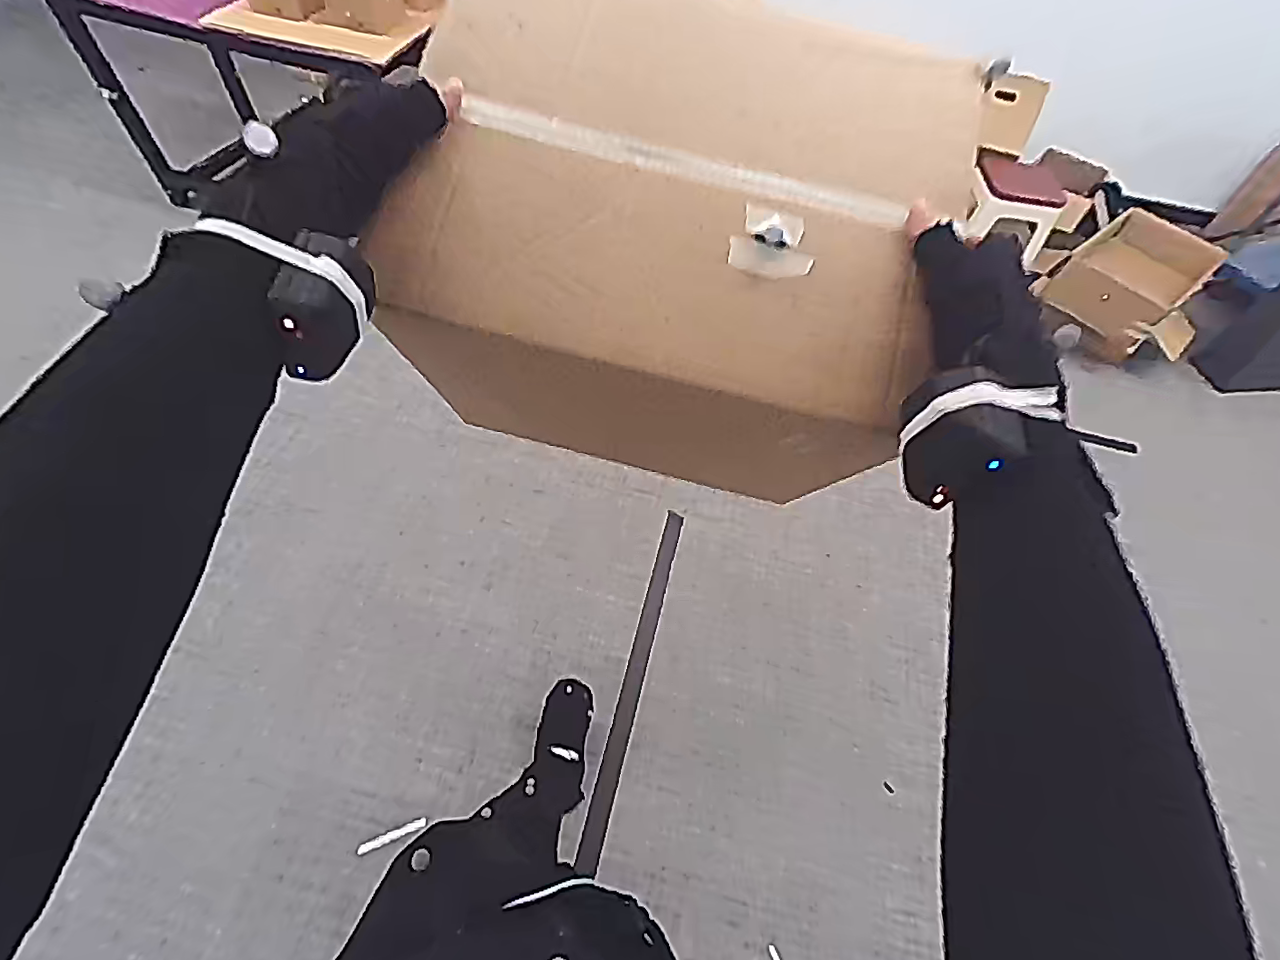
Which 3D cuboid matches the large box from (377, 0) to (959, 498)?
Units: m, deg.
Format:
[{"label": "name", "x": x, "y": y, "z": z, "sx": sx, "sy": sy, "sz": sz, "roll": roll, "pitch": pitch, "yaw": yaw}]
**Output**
[{"label": "large box", "x": 0.026, "y": -0.189, "z": 0.556, "sx": 0.408, "sy": 0.320, "sz": 0.320, "roll": 14, "pitch": 81, "yaw": -2}]
